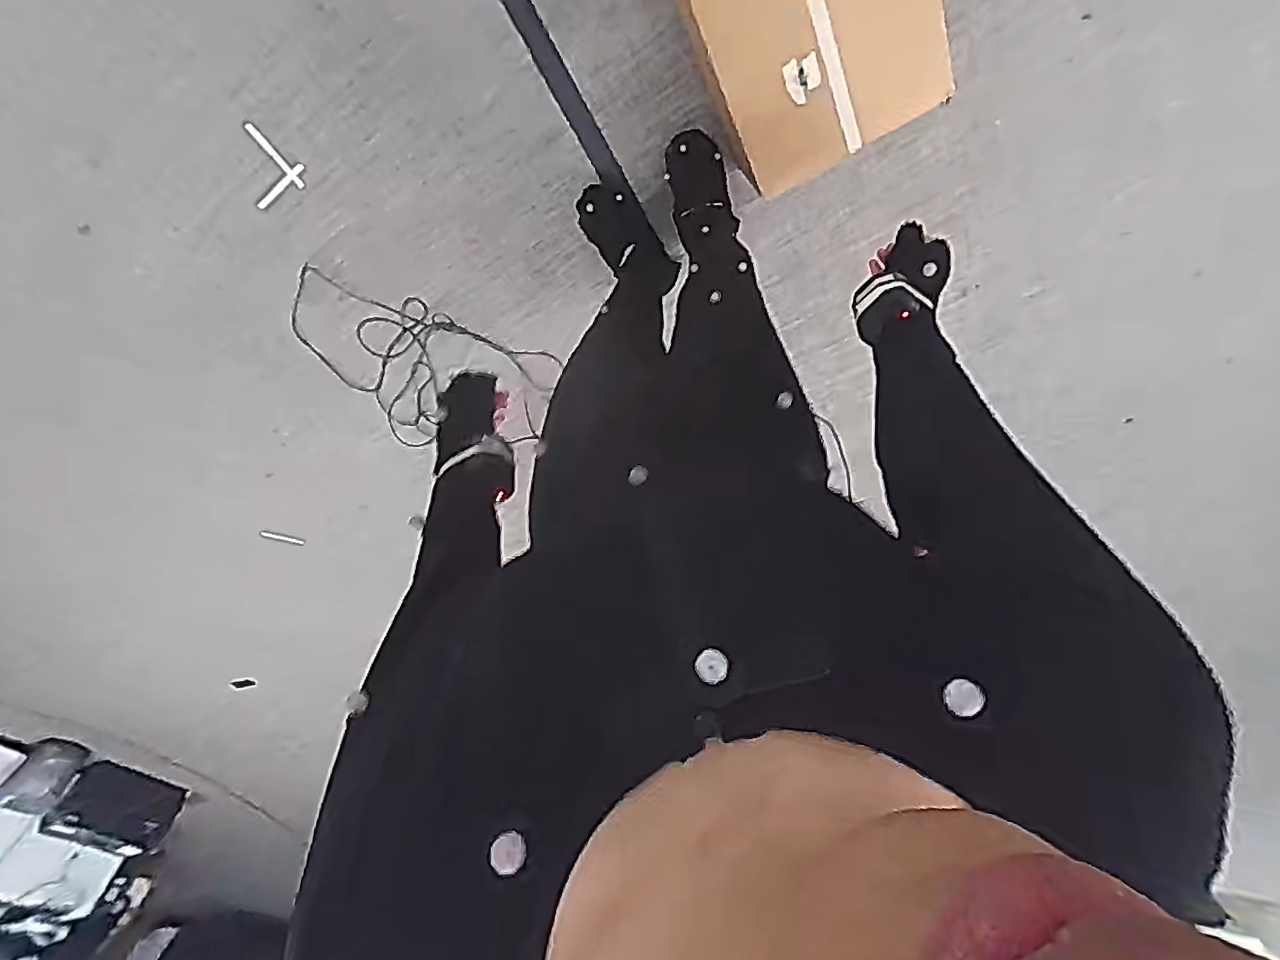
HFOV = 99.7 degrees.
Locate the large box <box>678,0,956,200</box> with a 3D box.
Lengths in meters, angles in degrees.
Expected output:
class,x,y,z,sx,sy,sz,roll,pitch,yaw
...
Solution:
class,x,y,z,sx,sy,sz,roll,pitch,yaw
large box,0.263,-0.767,0.895,0.320,0.320,0.408,-22,126,18
